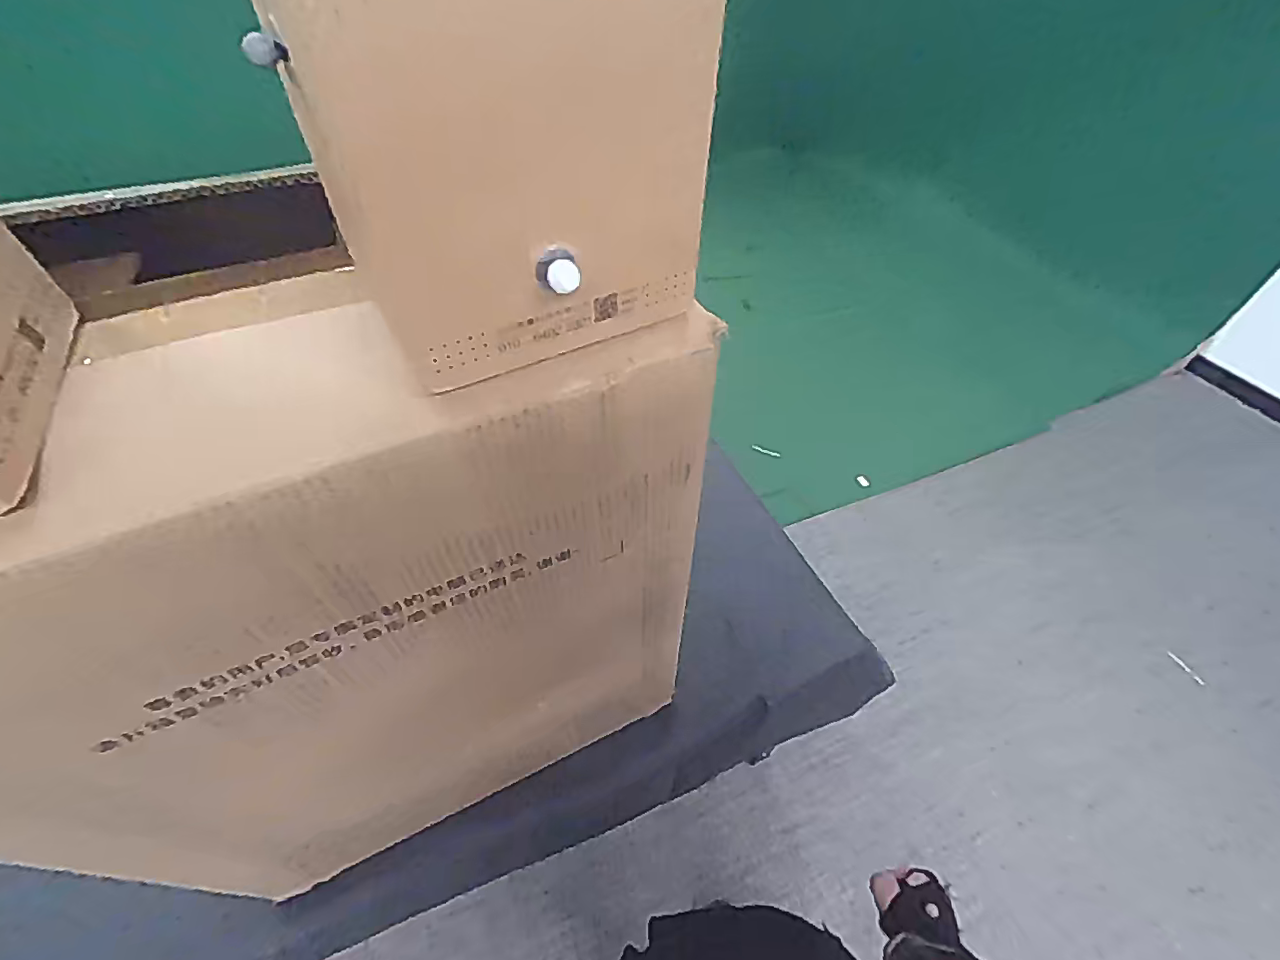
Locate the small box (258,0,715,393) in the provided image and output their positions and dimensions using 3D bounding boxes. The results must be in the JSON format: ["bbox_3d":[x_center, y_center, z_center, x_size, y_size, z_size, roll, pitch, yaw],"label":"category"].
[{"bbox_3d":[-0.083,-0.178,0.296,0.168,0.176,0.179,-24,54,-21],"label":"small box"}]
